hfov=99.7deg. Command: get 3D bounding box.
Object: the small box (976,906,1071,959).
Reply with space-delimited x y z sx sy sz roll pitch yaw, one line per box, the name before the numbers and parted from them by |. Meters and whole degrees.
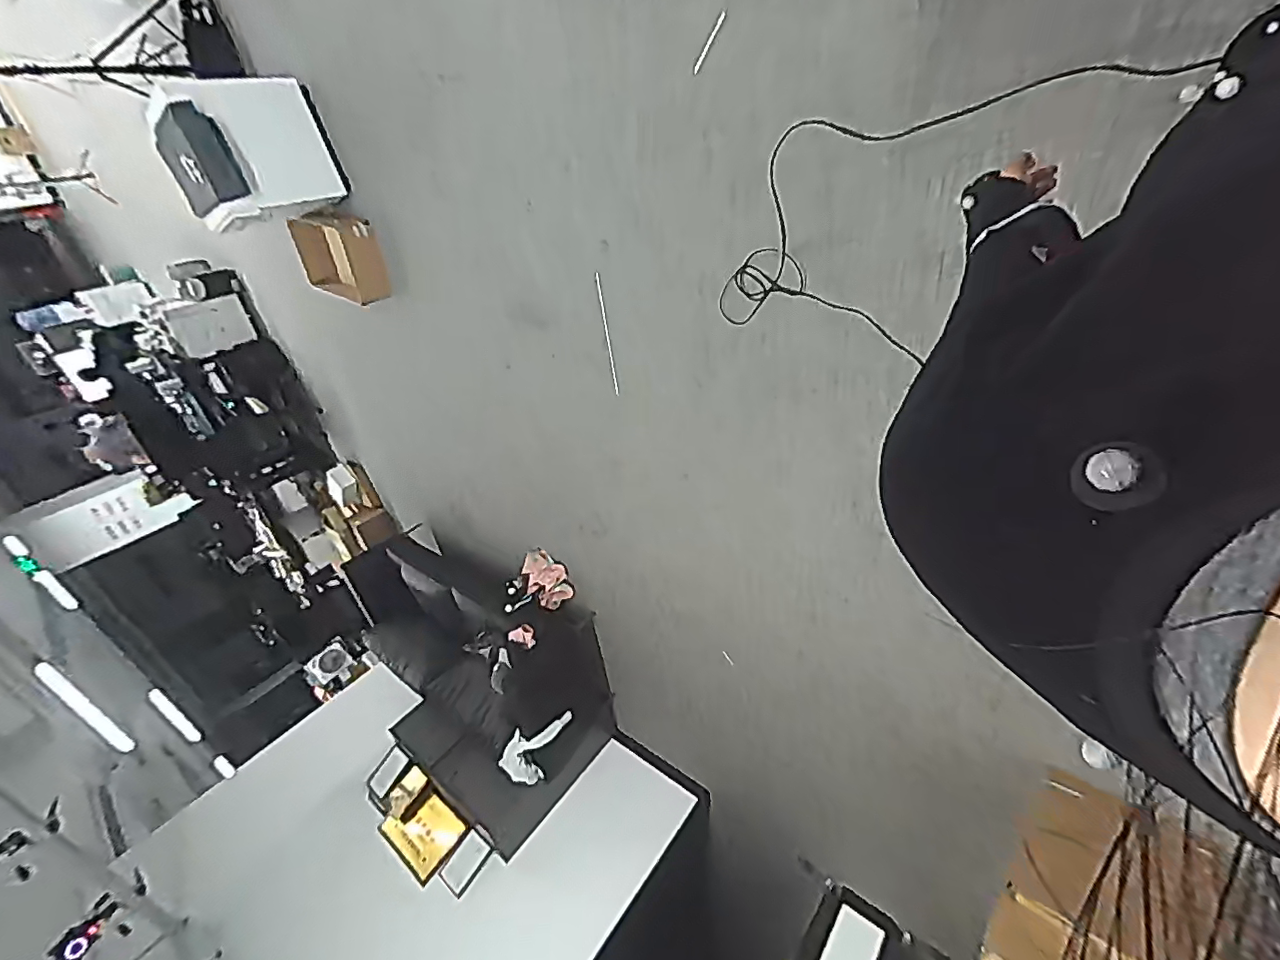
small box | 1.053 1.340 1.491 0.179 0.176 0.168 22 129 34
